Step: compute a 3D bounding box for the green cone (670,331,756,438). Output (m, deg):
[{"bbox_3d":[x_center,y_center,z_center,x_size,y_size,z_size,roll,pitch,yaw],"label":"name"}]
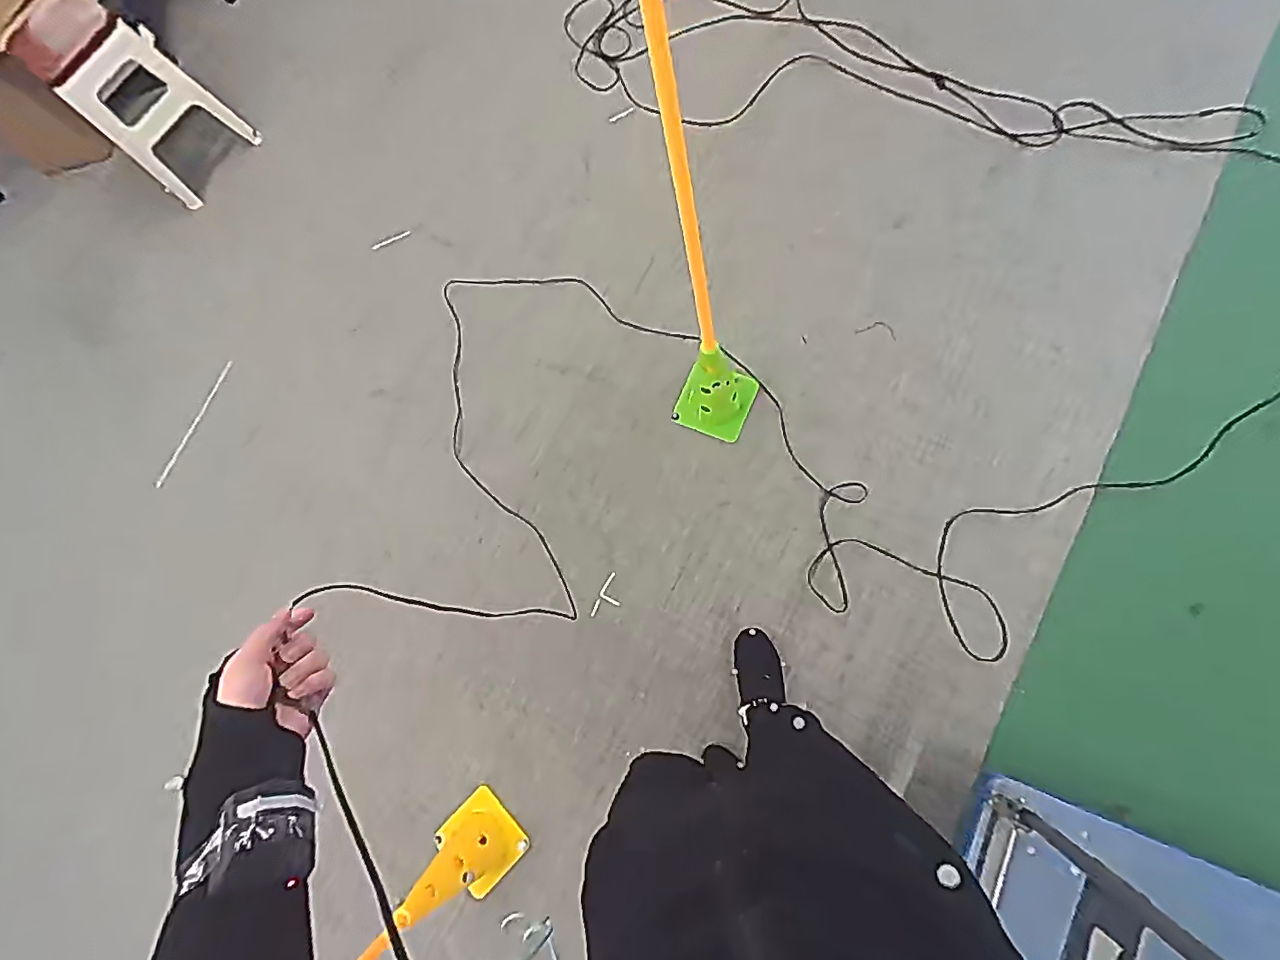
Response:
[{"bbox_3d":[0.178,-0.269,1.366,0.200,0.368,0.202,22,82,13],"label":"green cone"}]
